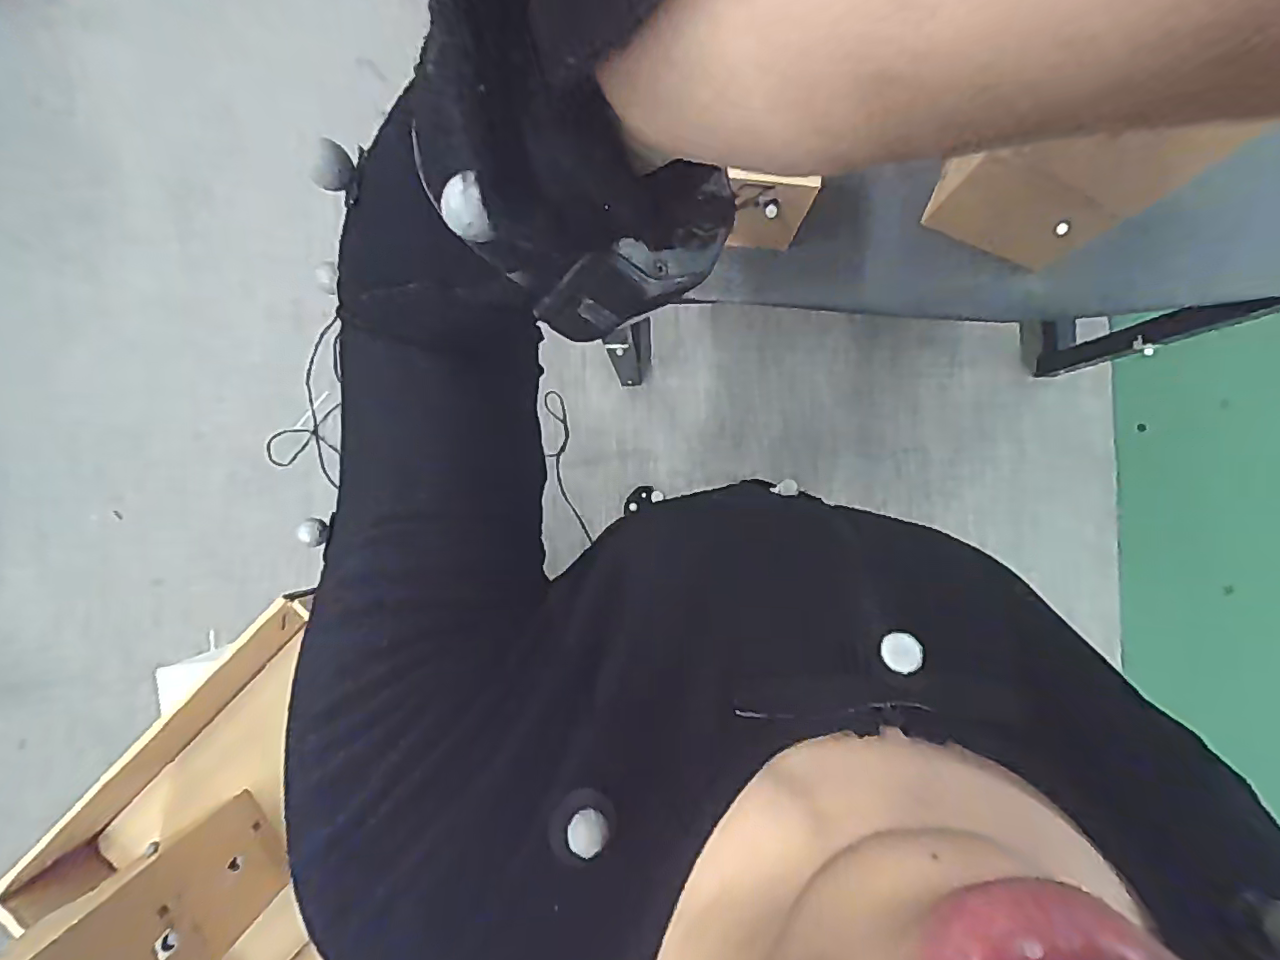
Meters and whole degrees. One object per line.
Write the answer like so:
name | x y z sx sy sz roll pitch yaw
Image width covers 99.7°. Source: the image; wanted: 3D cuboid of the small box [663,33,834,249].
small box | 0.125 -0.413 0.688 0.179 0.176 0.168 7 90 3

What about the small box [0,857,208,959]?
small box | -0.678 0.604 0.635 0.179 0.176 0.168 -29 91 0
